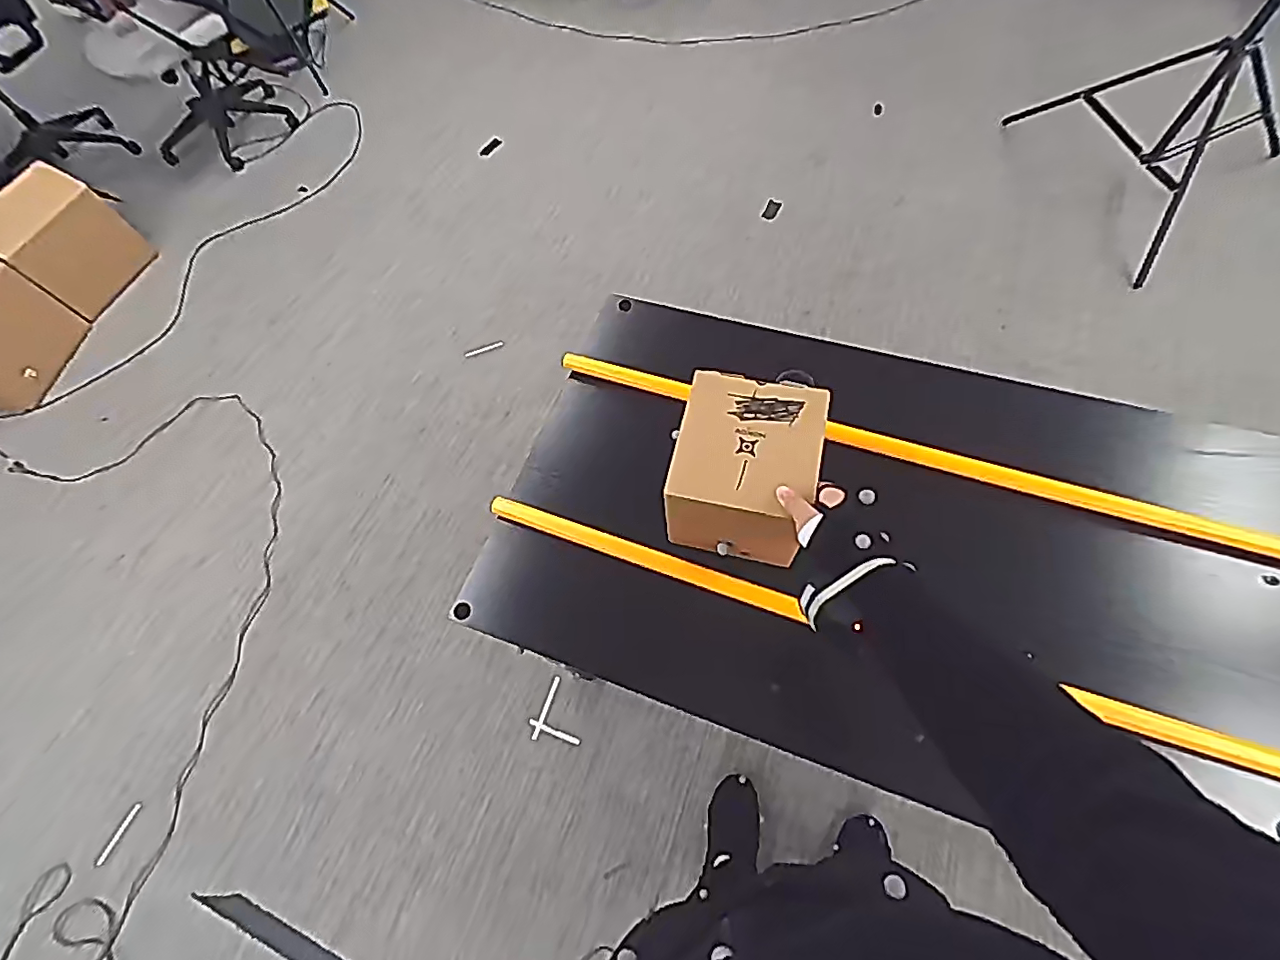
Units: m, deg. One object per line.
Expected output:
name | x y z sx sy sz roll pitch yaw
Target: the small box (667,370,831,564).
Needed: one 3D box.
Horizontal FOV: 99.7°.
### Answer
small box | 0.135 -0.012 0.699 0.168 0.176 0.179 11 67 11
